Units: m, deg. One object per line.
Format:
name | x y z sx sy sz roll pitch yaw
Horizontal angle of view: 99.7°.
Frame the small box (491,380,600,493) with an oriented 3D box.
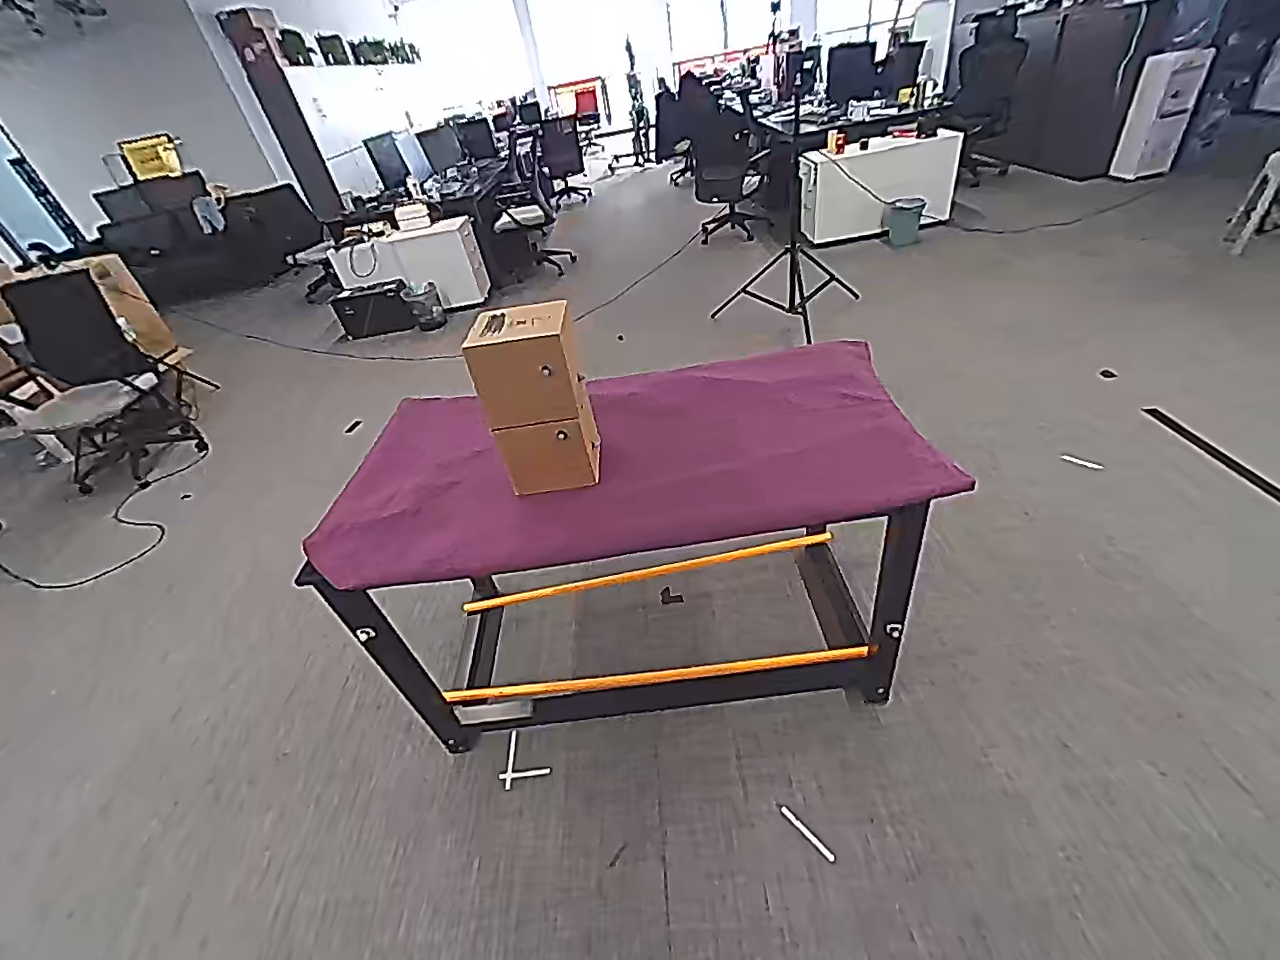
small box | -0.189 -0.088 1.134 0.179 0.176 0.168 -8 37 4
